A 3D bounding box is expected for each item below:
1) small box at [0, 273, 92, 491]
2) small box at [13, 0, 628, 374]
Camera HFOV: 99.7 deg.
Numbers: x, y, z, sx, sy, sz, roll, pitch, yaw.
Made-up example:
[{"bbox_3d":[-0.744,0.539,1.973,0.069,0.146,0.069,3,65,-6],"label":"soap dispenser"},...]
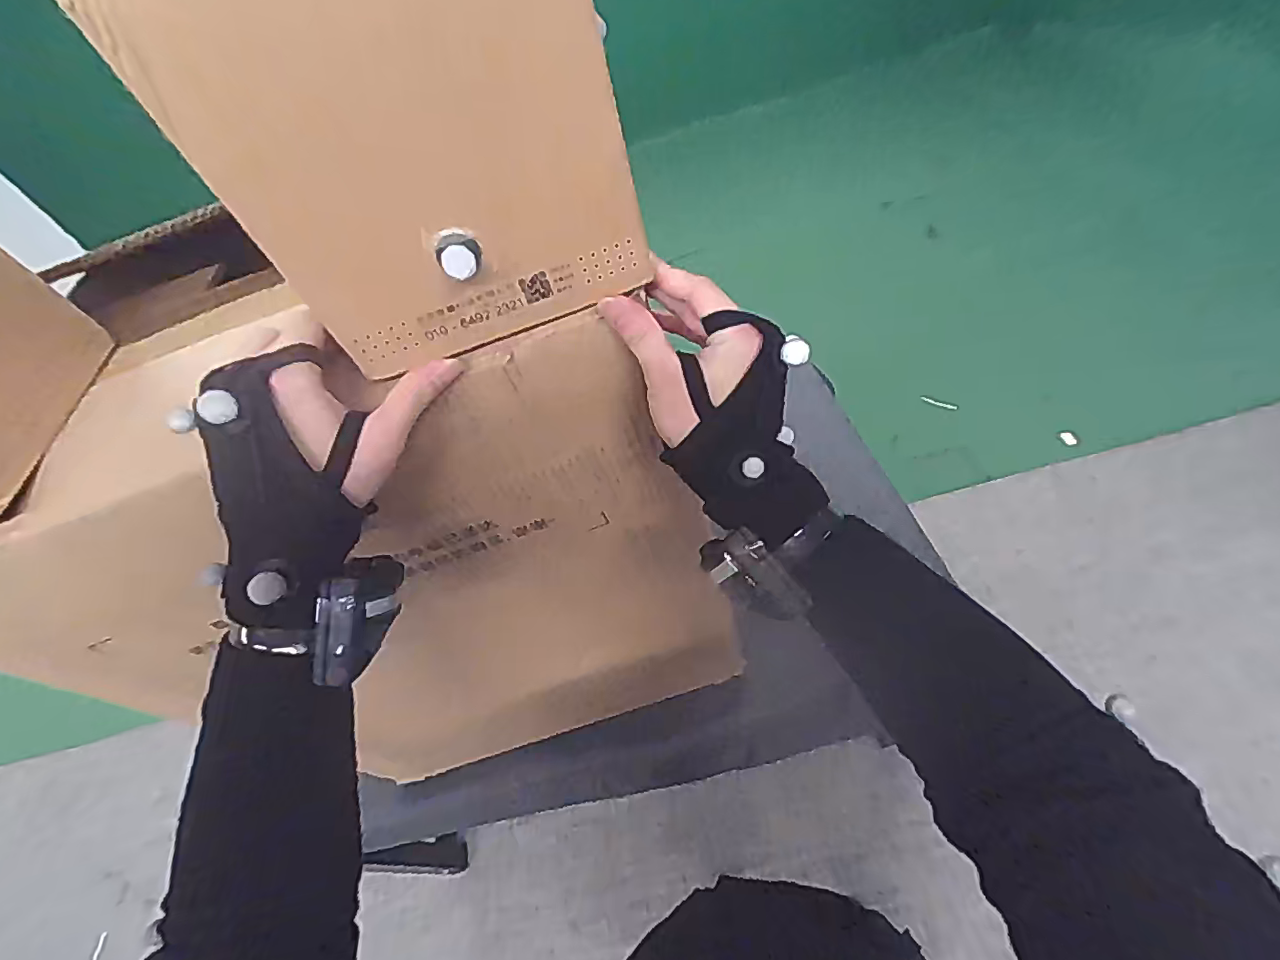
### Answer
[{"bbox_3d":[-0.478,-0.060,0.298,0.168,0.176,0.179,-20,52,4],"label":"small box"},{"bbox_3d":[-0.117,-0.187,0.274,0.168,0.176,0.179,-20,53,2],"label":"small box"}]
